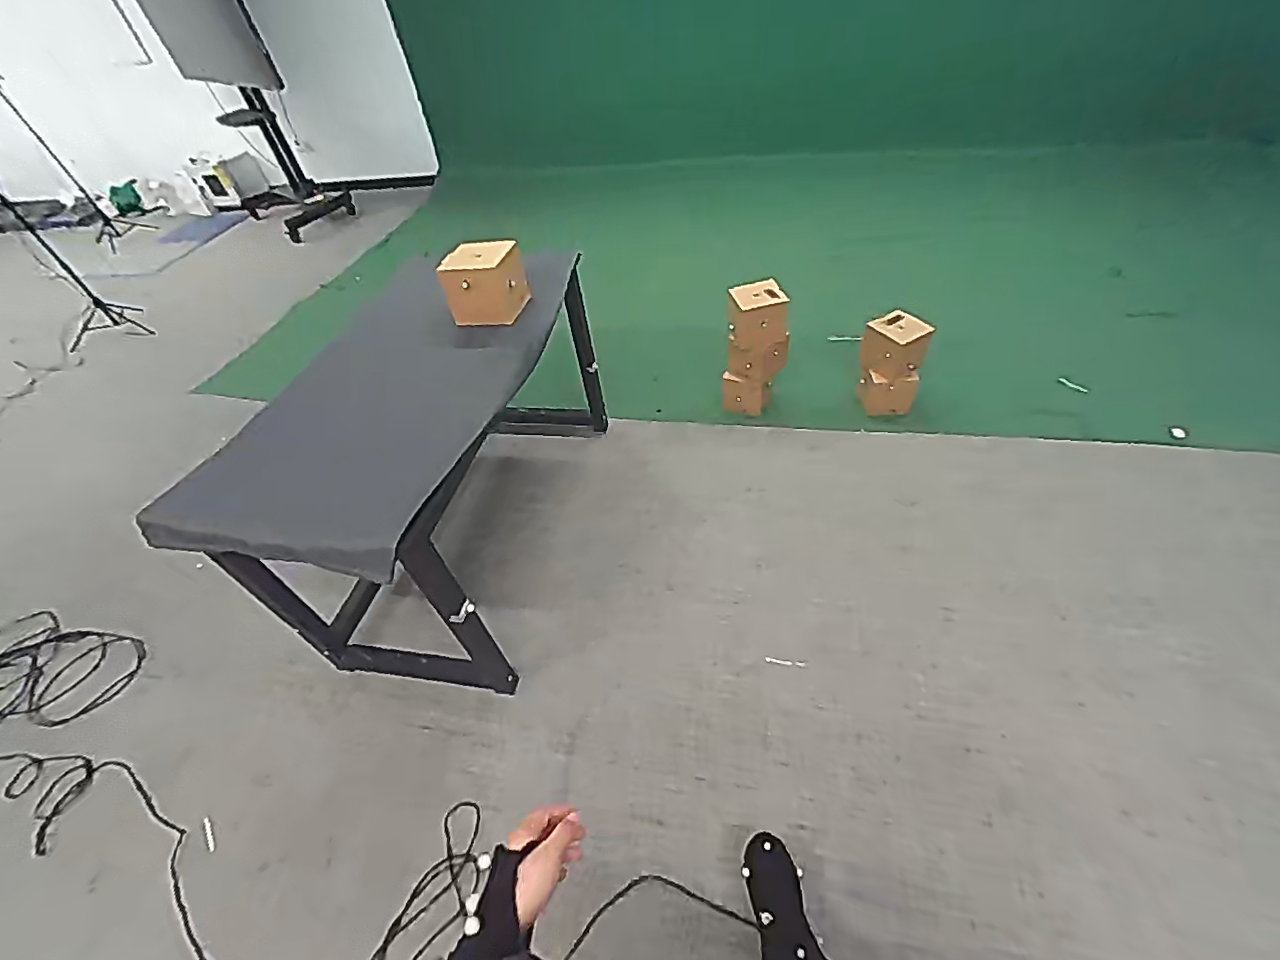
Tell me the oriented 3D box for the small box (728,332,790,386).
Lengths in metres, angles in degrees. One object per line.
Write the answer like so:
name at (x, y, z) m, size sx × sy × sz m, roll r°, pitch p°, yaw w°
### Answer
small box at (0.463, -0.494, 2.117) m, size 0.179 × 0.176 × 0.168 m, roll -35°, pitch 53°, yaw -24°

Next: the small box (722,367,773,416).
small box at (0.451, -0.390, 2.245) m, size 0.168 × 0.176 × 0.179 m, roll 18°, pitch 52°, yaw 22°

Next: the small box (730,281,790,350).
small box at (0.437, -0.608, 2.000) m, size 0.179 × 0.176 × 0.168 m, roll -13°, pitch 47°, yaw -3°

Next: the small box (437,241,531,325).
small box at (-0.426, -0.550, 1.516) m, size 0.179 × 0.176 × 0.168 m, roll 3°, pitch 47°, yaw 14°

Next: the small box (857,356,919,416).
small box at (0.978, -0.371, 2.149) m, size 0.168 × 0.176 × 0.179 m, roll -2°, pitch 46°, yaw 6°
